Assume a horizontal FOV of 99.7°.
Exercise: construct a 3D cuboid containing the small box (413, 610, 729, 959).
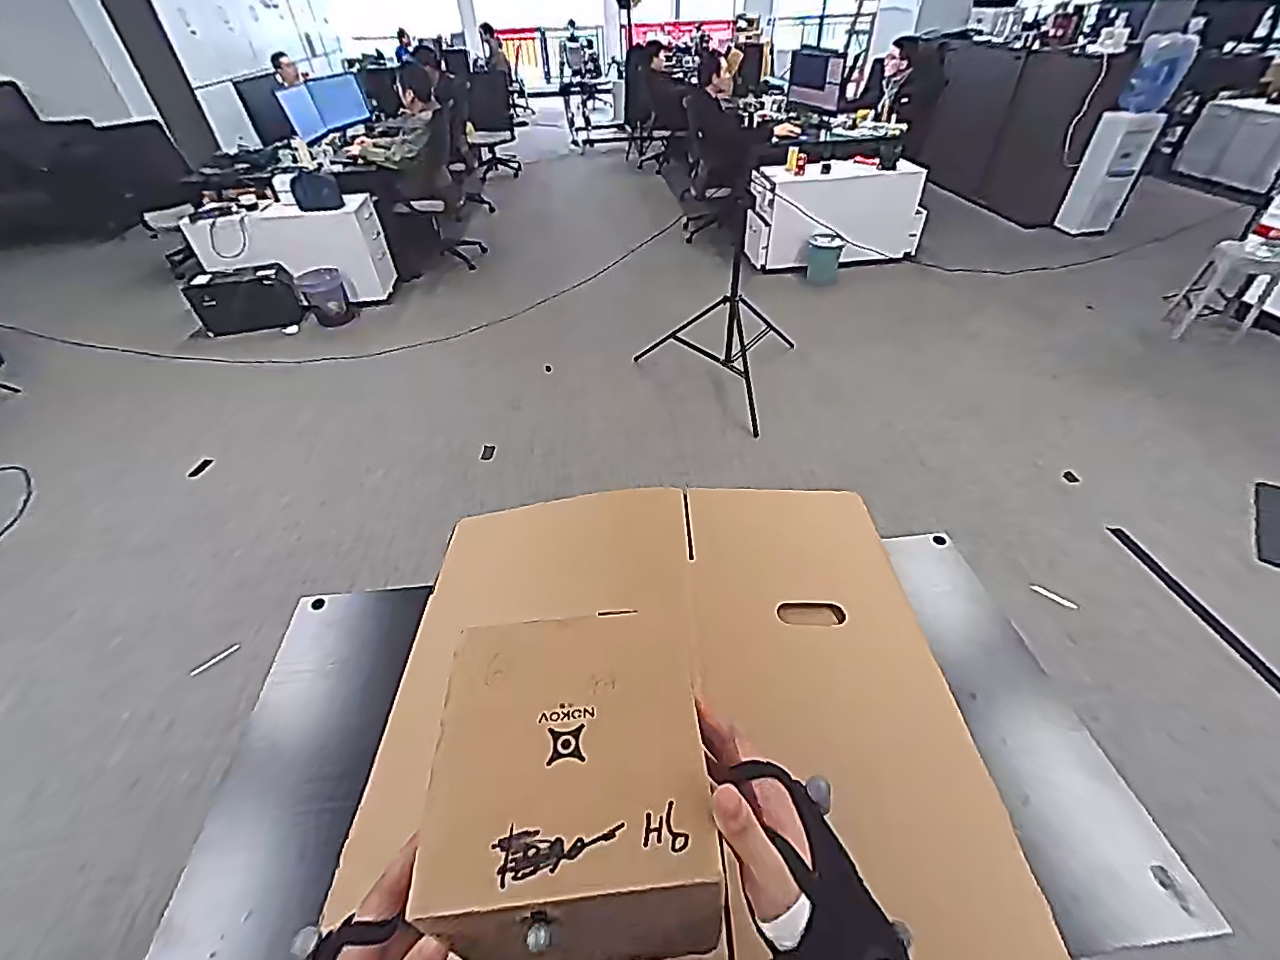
[{"bbox_3d":[-0.036,0.222,0.389,0.168,0.176,0.179,-7,39,-1],"label":"small box"}]
